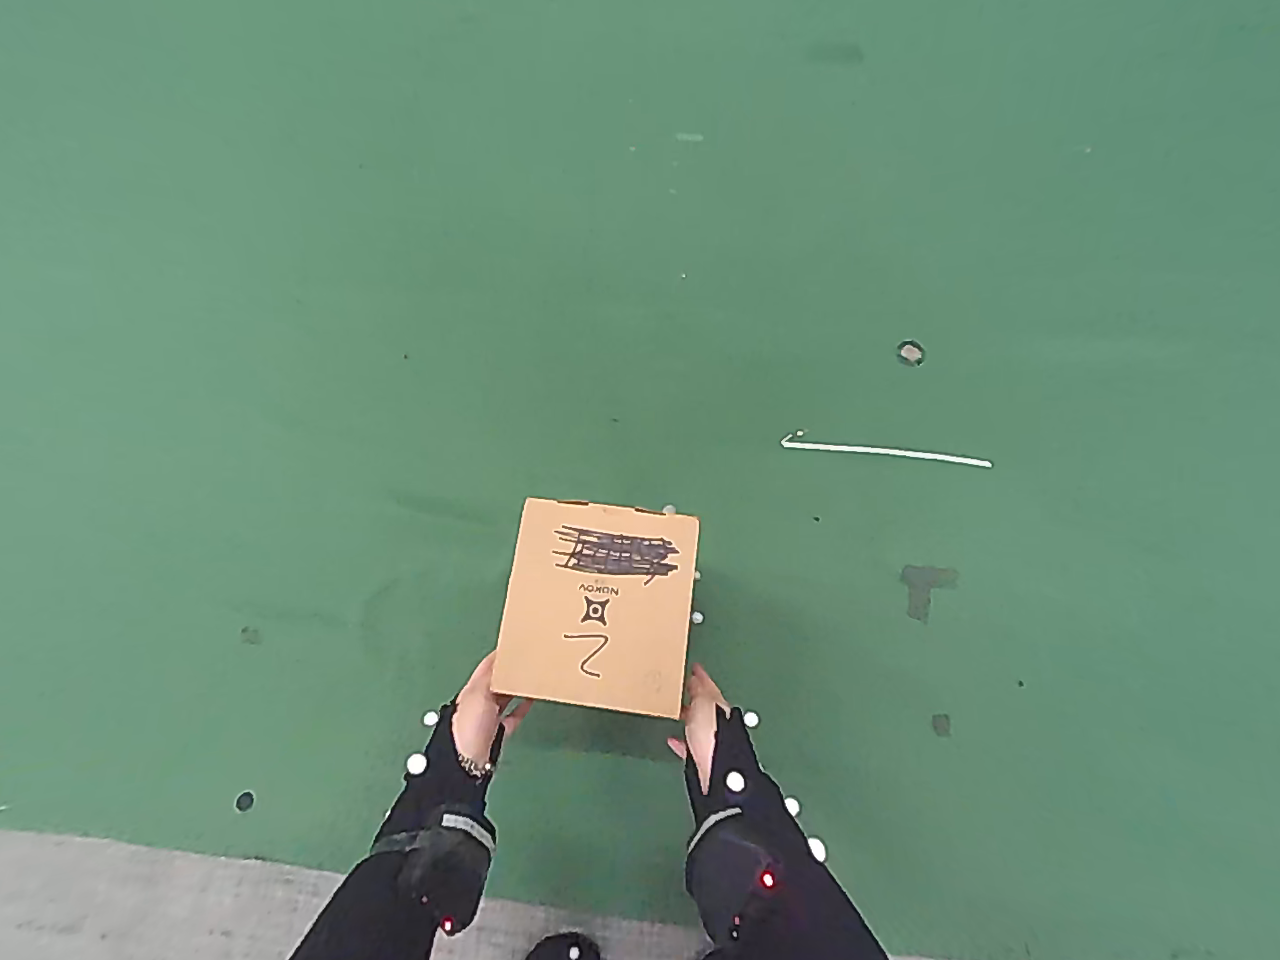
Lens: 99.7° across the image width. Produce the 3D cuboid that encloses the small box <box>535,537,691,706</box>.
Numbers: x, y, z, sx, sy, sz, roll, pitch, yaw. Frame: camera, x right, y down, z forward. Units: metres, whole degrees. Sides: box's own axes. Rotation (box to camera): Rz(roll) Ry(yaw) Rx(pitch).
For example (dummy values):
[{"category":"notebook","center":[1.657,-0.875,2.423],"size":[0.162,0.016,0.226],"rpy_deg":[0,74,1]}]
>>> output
[{"category":"small box","center":[-0.024,0.183,0.705],"size":[0.168,0.176,0.179],"rpy_deg":[6,73,5]}]
